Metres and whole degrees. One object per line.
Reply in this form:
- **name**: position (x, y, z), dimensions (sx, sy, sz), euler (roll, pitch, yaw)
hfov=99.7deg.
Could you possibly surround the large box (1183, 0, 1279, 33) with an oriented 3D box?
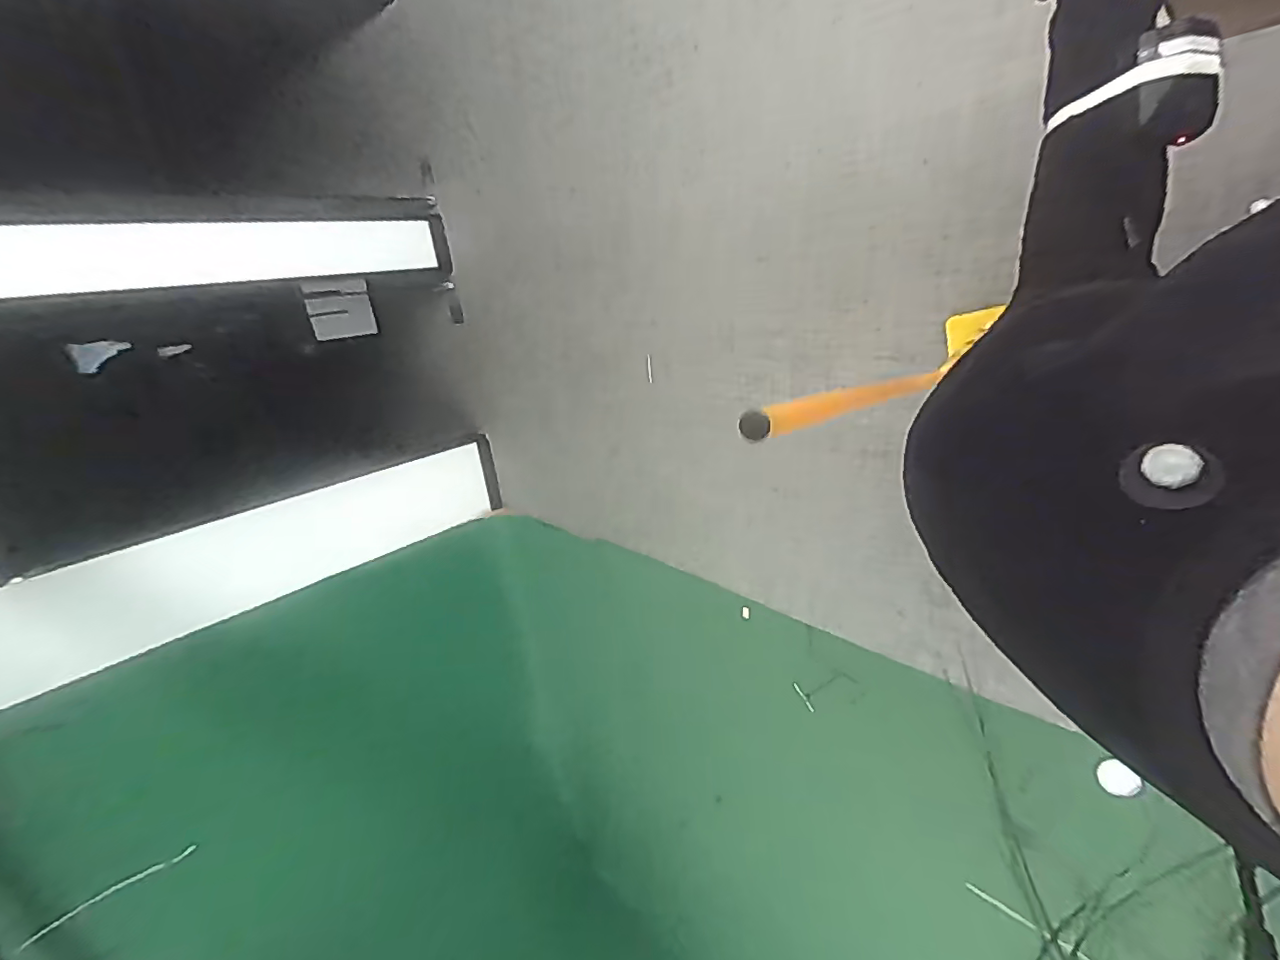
- **large box**: position (0.572, -0.498, 0.258), dimensions (0.408, 0.320, 0.320), euler (12, 120, 44)
